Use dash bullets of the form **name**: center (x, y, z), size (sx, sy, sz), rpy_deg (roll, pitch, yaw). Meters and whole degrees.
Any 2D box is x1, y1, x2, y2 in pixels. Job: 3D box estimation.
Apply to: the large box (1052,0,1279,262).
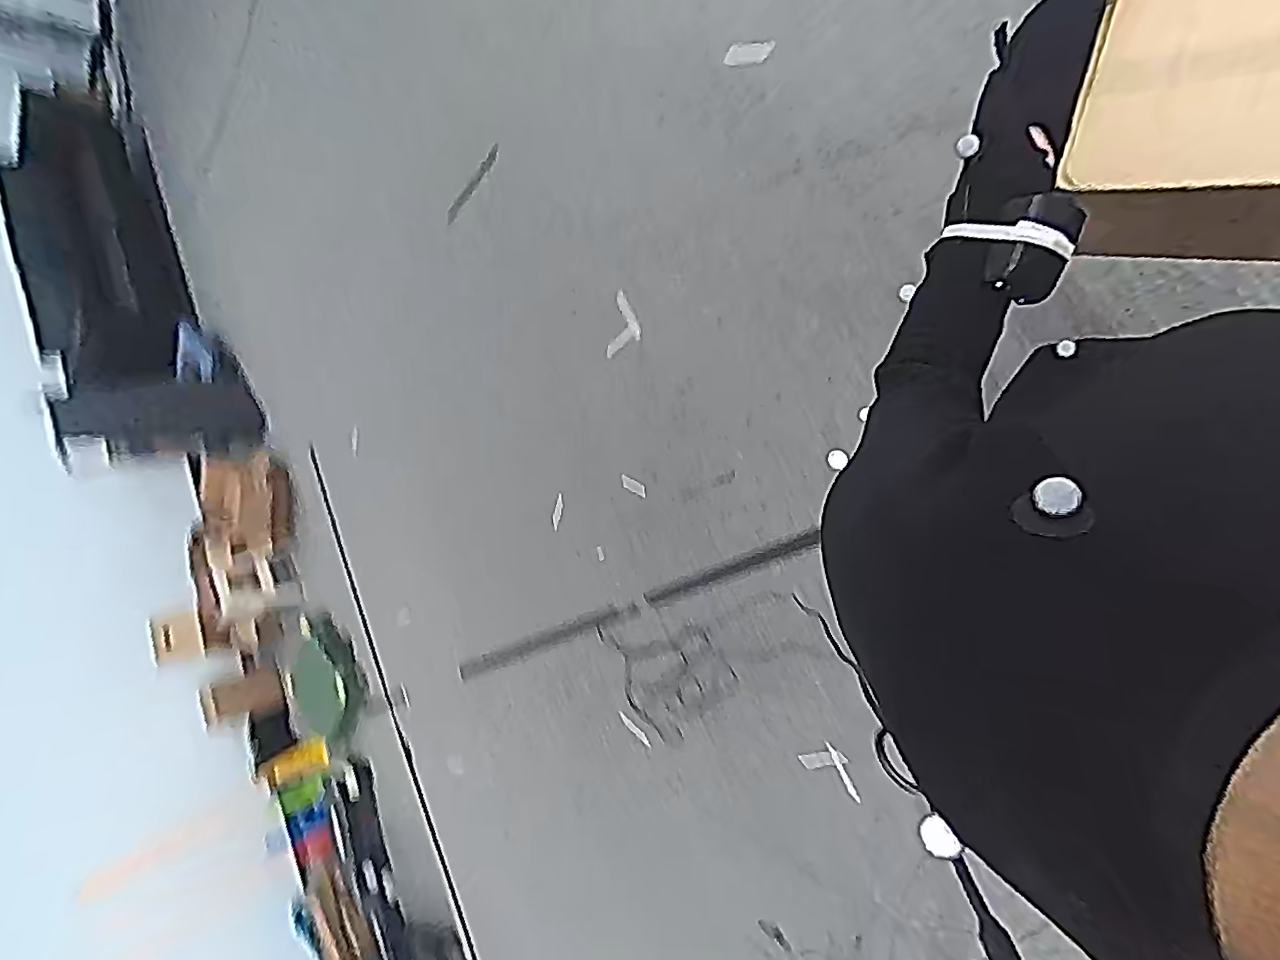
- **large box**: center (0.574, -0.342, 0.383), size (0.408, 0.320, 0.320), rpy_deg (17, 111, 34)
